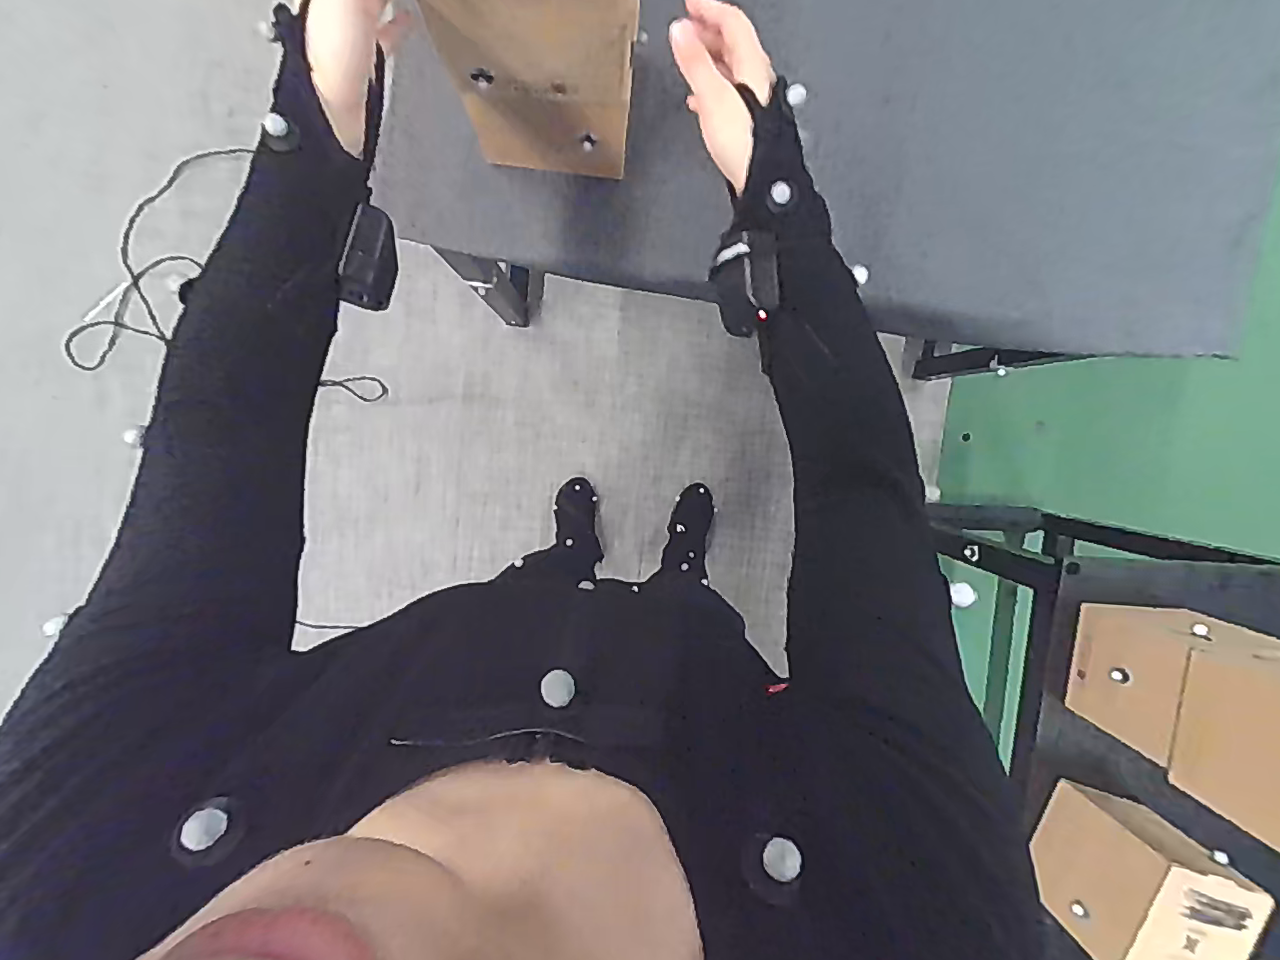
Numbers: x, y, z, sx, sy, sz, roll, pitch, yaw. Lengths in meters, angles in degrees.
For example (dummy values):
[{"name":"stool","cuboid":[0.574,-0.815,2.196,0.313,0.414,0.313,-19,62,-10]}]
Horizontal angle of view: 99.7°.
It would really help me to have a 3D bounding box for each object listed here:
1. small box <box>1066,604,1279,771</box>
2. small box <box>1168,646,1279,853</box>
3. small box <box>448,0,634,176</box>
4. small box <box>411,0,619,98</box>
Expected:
[{"name":"small box","cuboid":[0.742,0.279,0.746,0.179,0.176,0.168,4,97,-5]},{"name":"small box","cuboid":[0.736,0.301,0.584,0.168,0.176,0.179,4,96,-4]},{"name":"small box","cuboid":[-0.101,-0.470,0.610,0.179,0.176,0.168,4,94,-4]},{"name":"small box","cuboid":[-0.099,-0.455,0.445,0.168,0.176,0.179,0,93,-5]}]
